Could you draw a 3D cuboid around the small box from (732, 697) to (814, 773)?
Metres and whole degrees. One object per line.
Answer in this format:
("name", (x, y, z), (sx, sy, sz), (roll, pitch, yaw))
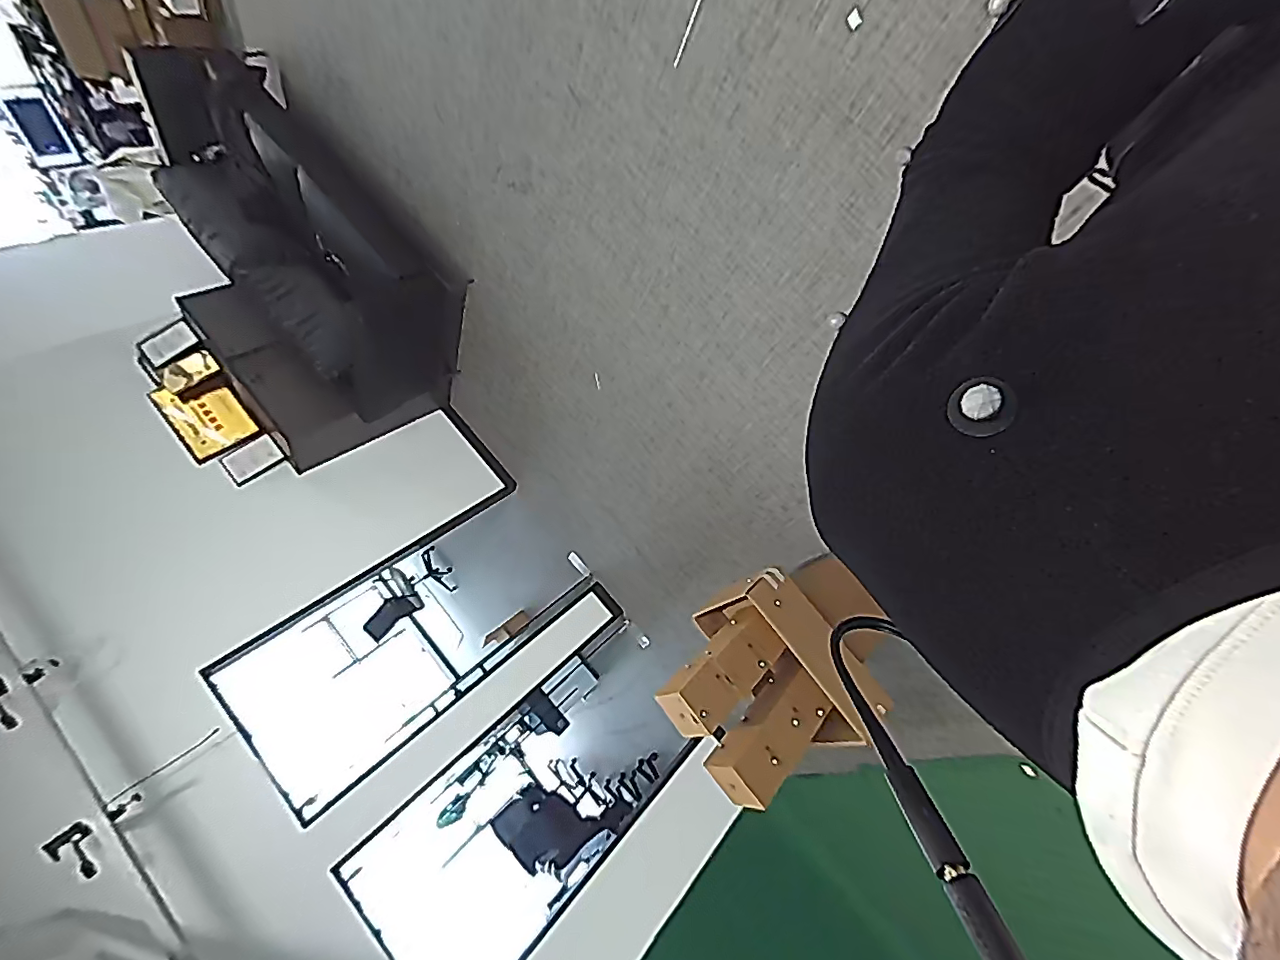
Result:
("small box", (0.454, 0.863, 1.836), (0.168, 0.176, 0.179), (51, 145, 5))

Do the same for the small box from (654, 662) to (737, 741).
("small box", (0.182, 0.717, 1.755), (0.168, 0.176, 0.179), (53, 145, 4))

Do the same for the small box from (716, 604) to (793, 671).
("small box", (0.413, 0.570, 1.937), (0.168, 0.176, 0.179), (53, 144, 4))

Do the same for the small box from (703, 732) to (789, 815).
("small box", (0.343, 0.938, 1.743), (0.168, 0.176, 0.179), (51, 145, 4))

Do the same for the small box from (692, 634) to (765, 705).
("small box", (0.301, 0.646, 1.843), (0.168, 0.176, 0.179), (53, 145, 4))
